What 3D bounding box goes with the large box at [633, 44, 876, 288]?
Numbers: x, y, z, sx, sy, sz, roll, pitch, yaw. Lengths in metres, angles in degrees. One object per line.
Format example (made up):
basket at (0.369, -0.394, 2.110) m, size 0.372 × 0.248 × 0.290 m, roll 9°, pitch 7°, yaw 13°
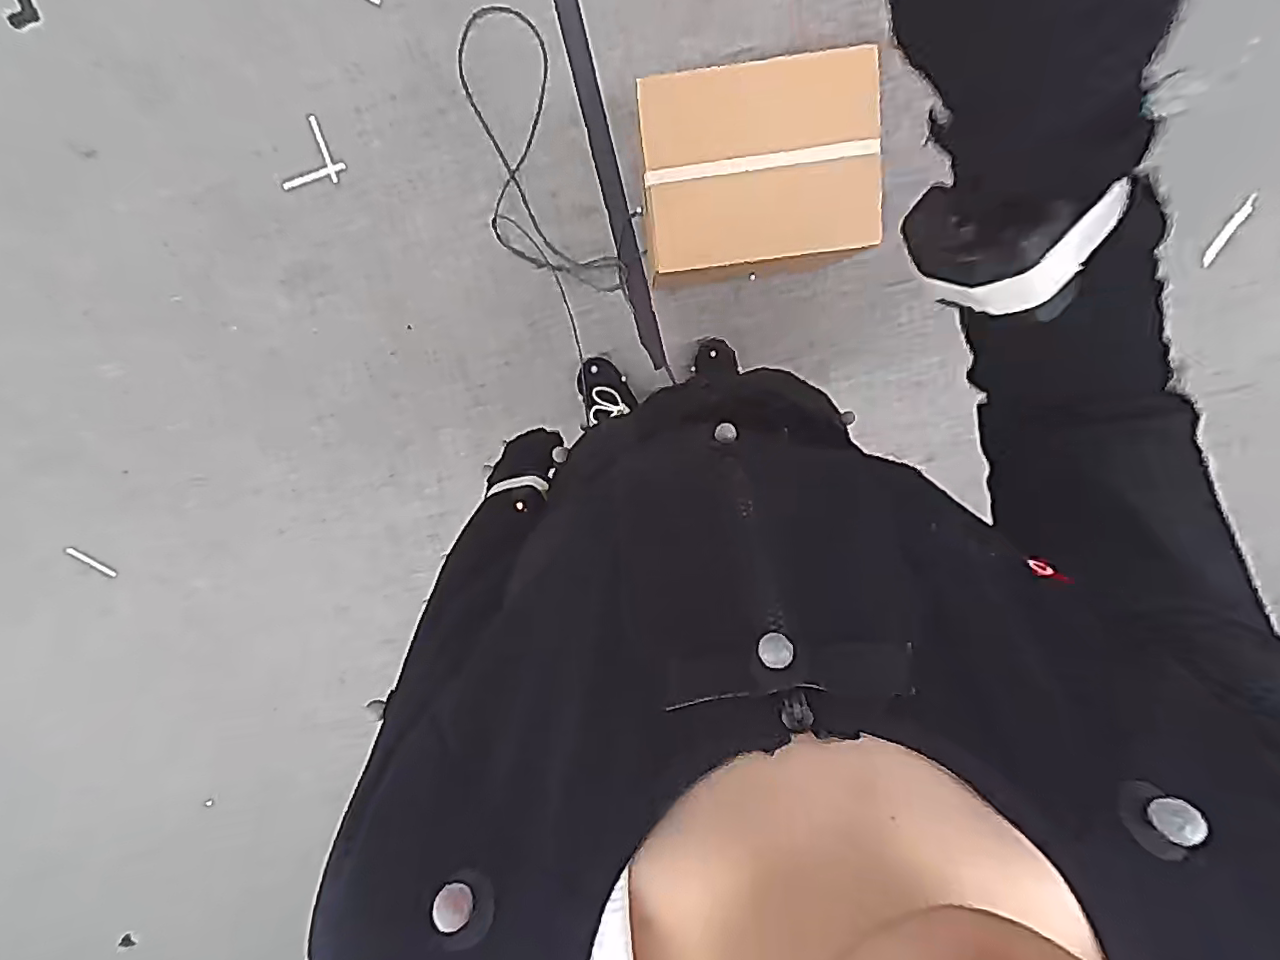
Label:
large box at (0.206, -0.587, 1.085) m, size 0.408 × 0.320 × 0.320 m, roll -7°, pitch 104°, yaw 2°
